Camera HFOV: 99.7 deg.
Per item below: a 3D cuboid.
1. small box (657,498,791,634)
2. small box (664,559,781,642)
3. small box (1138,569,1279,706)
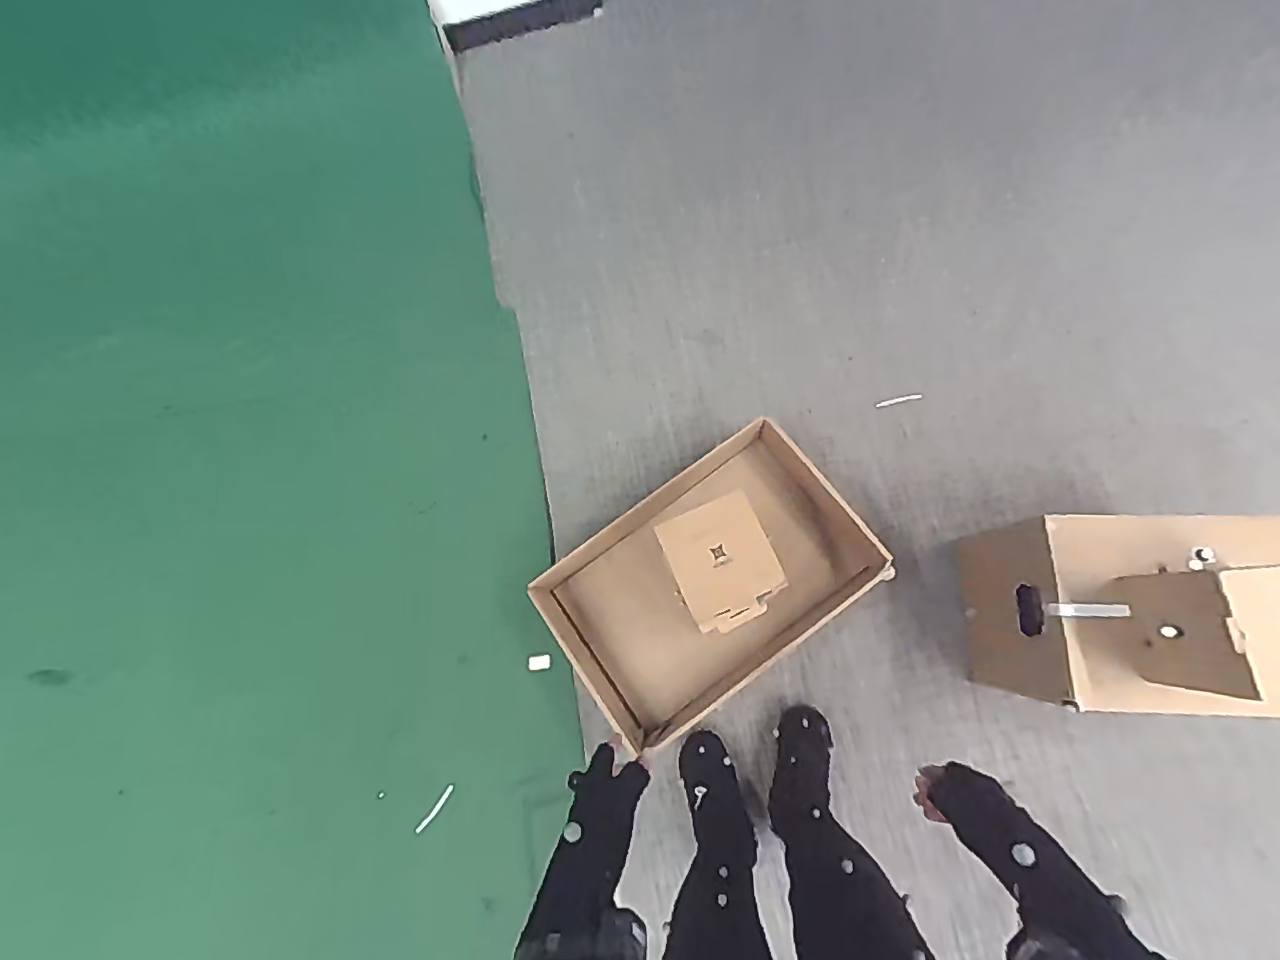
[{"bbox_3d":[0.145,0.157,0.954,0.168,0.176,0.179,-25,72,0],"label":"small box"},{"bbox_3d":[0.167,0.211,1.105,0.168,0.176,0.179,-29,73,0],"label":"small box"},{"bbox_3d":[0.859,0.214,0.758,0.179,0.176,0.168,-6,76,5],"label":"small box"}]
